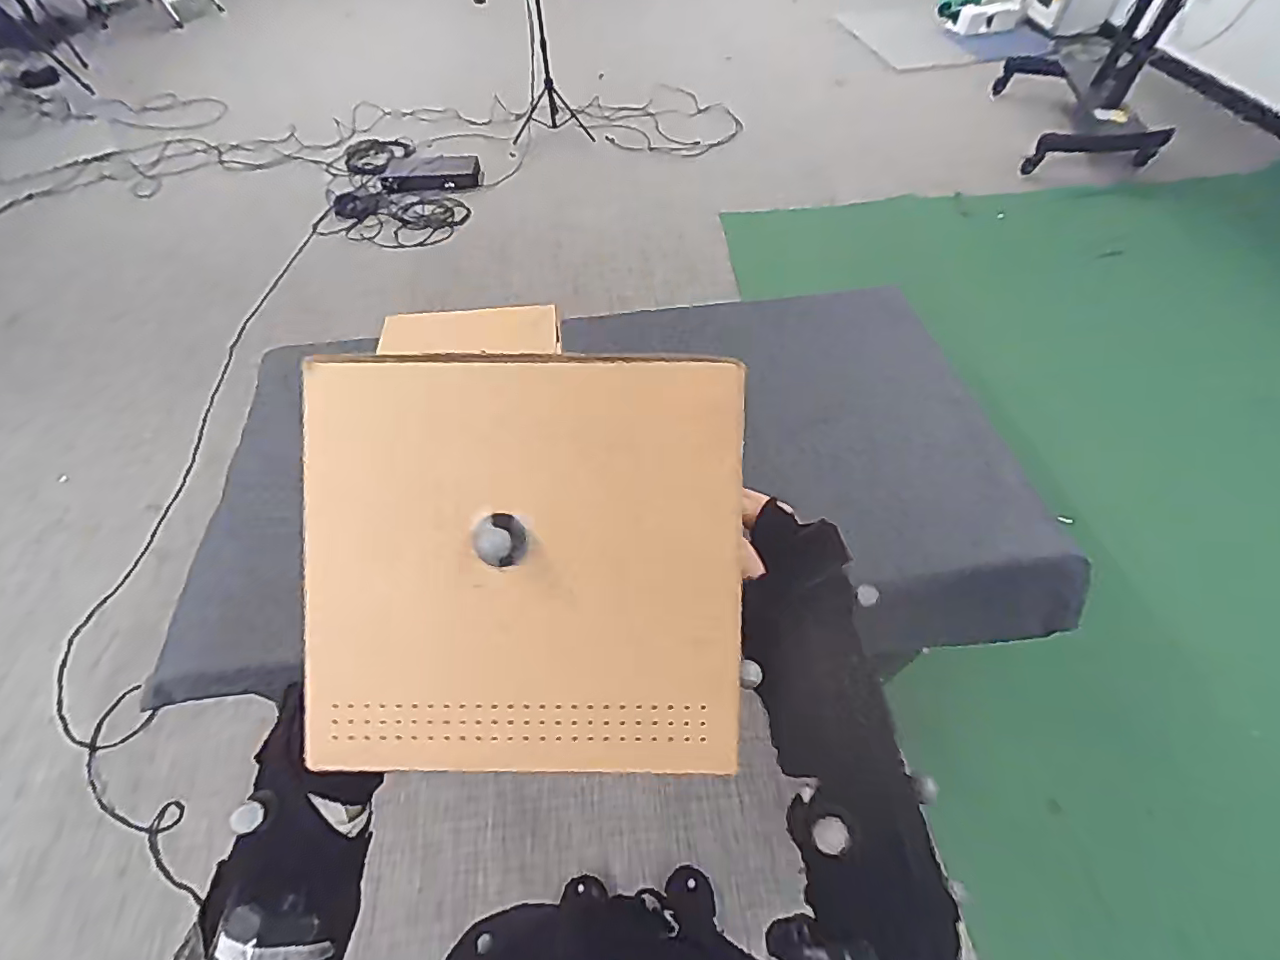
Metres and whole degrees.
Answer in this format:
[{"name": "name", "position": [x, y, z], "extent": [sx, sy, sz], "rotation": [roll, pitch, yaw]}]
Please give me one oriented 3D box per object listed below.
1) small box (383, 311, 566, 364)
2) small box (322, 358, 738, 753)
[{"name": "small box", "position": [-0.161, -0.057, 0.579], "extent": [0.179, 0.176, 0.168], "rotation": [-5, 52, -2]}, {"name": "small box", "position": [-0.048, 0.034, 0.306], "extent": [0.179, 0.168, 0.176], "rotation": [1, 90, -1]}]
